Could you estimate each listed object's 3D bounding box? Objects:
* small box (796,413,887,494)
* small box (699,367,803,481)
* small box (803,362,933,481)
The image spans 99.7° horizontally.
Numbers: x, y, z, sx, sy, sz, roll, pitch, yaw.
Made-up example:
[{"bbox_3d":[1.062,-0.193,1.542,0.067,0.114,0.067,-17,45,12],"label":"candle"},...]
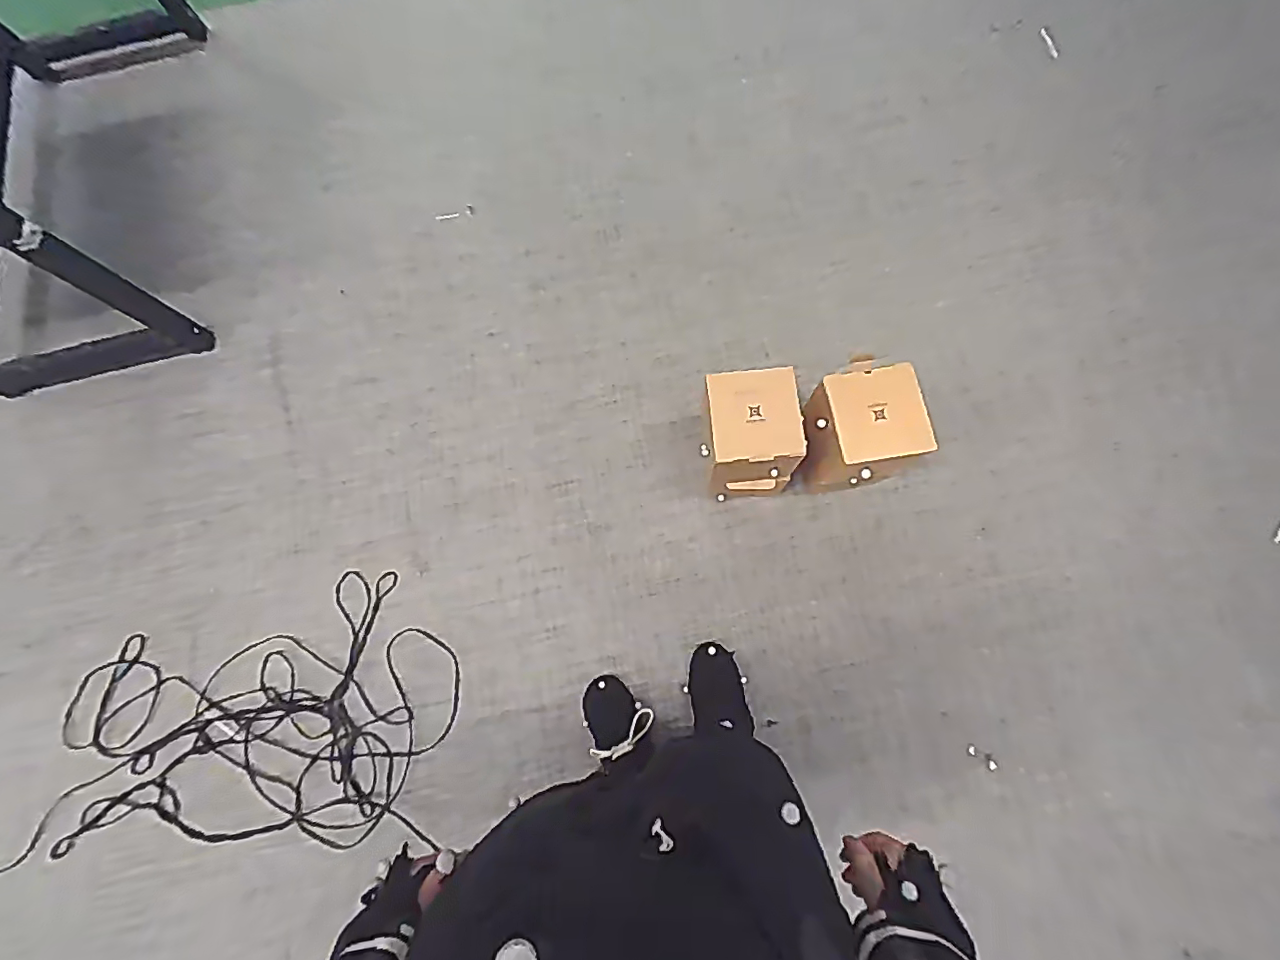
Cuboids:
[{"bbox_3d":[0.449,-0.080,1.214,0.168,0.176,0.179,-9,75,0],"label":"small box"},{"bbox_3d":[0.210,-0.102,1.065,0.168,0.176,0.179,-5,75,1],"label":"small box"},{"bbox_3d":[0.431,-0.103,1.053,0.168,0.176,0.179,-9,76,1],"label":"small box"}]
